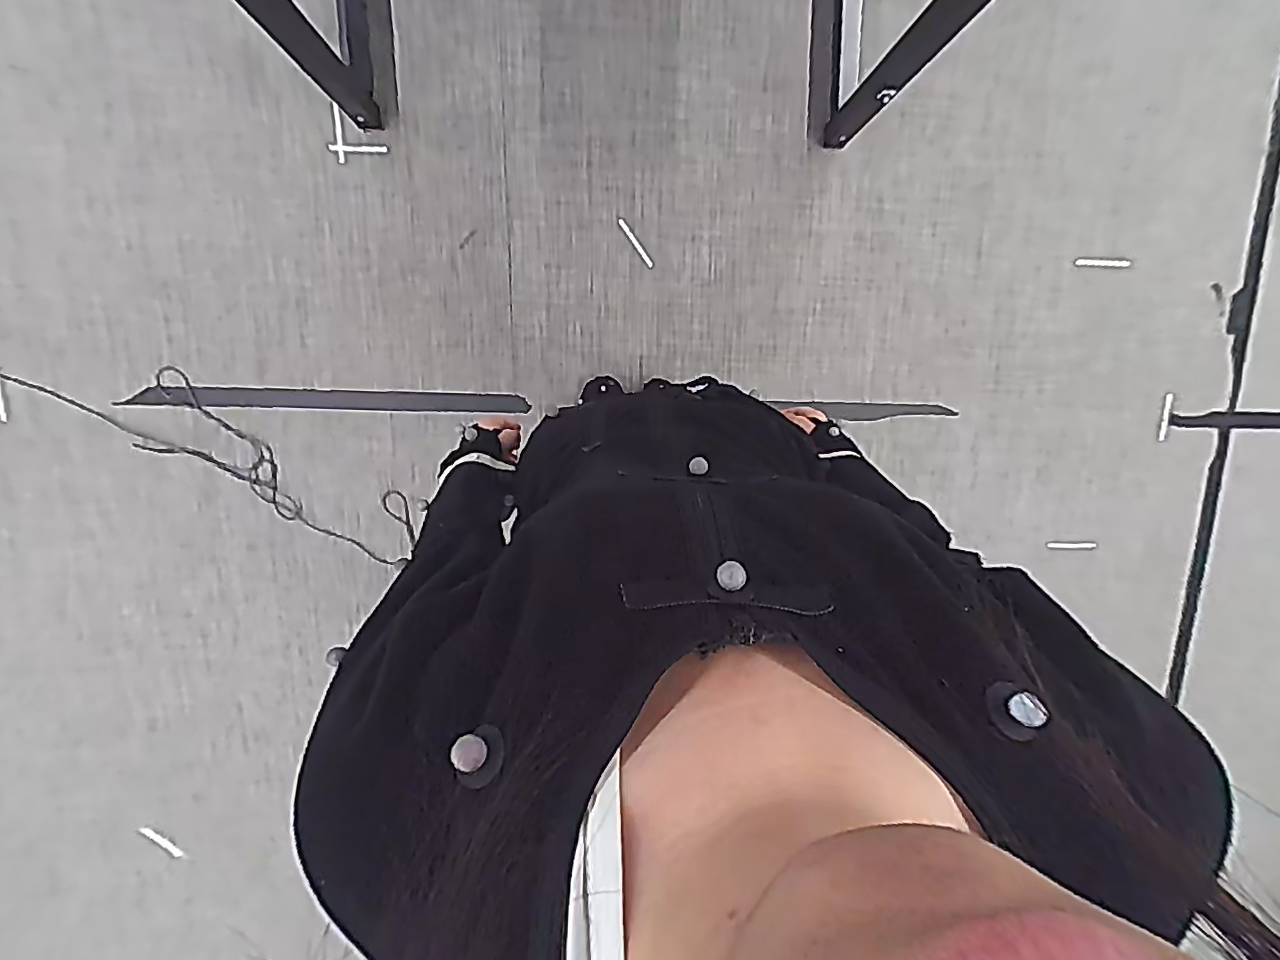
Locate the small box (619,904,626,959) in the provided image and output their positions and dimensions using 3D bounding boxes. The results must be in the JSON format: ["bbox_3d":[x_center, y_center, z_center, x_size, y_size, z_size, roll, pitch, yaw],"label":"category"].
[{"bbox_3d":[-0.132,1.441,1.665,0.168,0.176,0.179,-7,101,-3],"label":"small box"}]

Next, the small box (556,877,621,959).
[{"bbox_3d":[-0.140,1.208,1.453,0.168,0.176,0.179,1,101,-4],"label":"small box"}]

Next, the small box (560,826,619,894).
[{"bbox_3d":[-0.148,1.165,1.612,0.168,0.176,0.179,-2,102,-3],"label":"small box"}]
